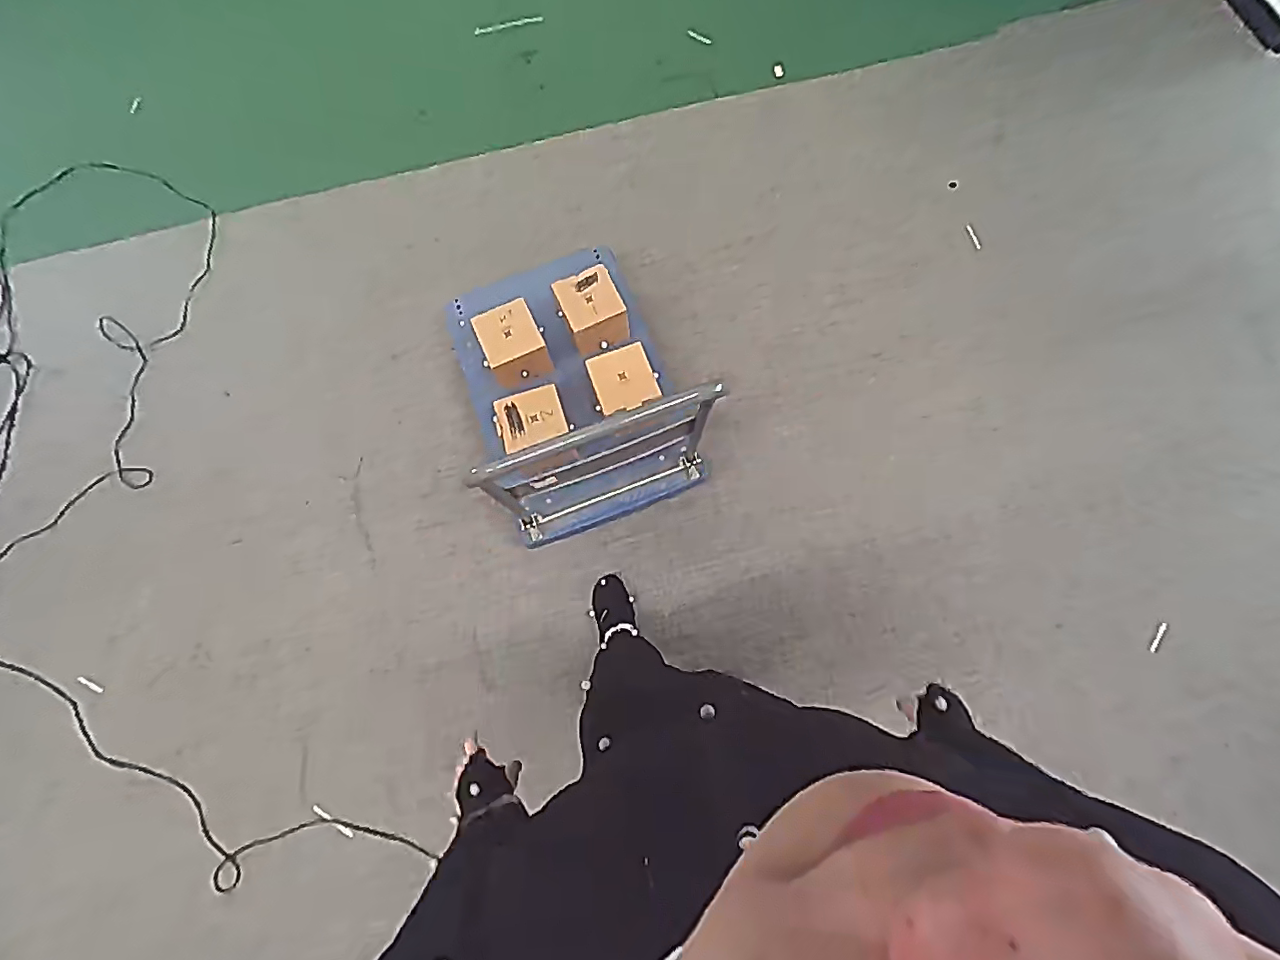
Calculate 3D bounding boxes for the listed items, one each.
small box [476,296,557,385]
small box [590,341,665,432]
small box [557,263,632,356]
[{"bbox_3d":[-0.360,-0.402,1.606,0.168,0.176,0.179,-24,75,-5],"label":"small box"},{"bbox_3d":[-0.034,-0.265,1.556,0.168,0.176,0.179,-20,75,-4],"label":"small box"},{"bbox_3d":[-0.132,-0.507,1.626,0.168,0.176,0.179,-24,76,-4],"label":"small box"}]
